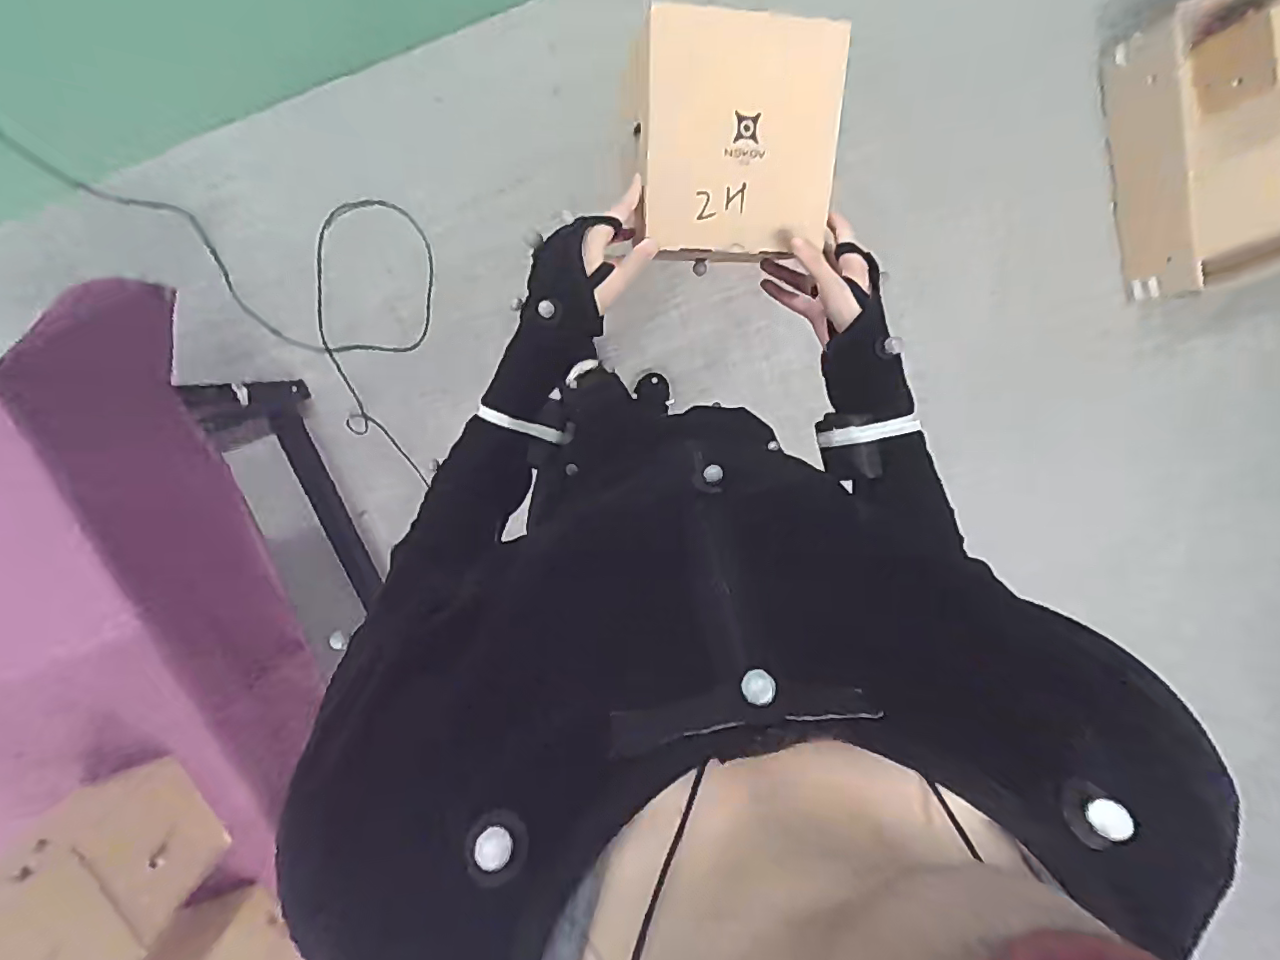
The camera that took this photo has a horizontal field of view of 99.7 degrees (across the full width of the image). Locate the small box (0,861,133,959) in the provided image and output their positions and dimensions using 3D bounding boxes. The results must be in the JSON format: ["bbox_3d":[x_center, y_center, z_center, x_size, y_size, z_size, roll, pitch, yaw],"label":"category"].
[{"bbox_3d":[-0.749,0.571,0.606,0.168,0.176,0.179,-19,102,4],"label":"small box"}]

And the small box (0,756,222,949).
[{"bbox_3d":[-0.757,0.539,0.768,0.168,0.176,0.179,-21,101,3],"label":"small box"}]

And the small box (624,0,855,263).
[{"bbox_3d":[0.075,-0.310,0.516,0.168,0.176,0.179,0,110,-8],"label":"small box"}]

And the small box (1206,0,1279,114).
[{"bbox_3d":[1.418,-0.957,1.197,0.179,0.176,0.168,-22,102,4],"label":"small box"}]
